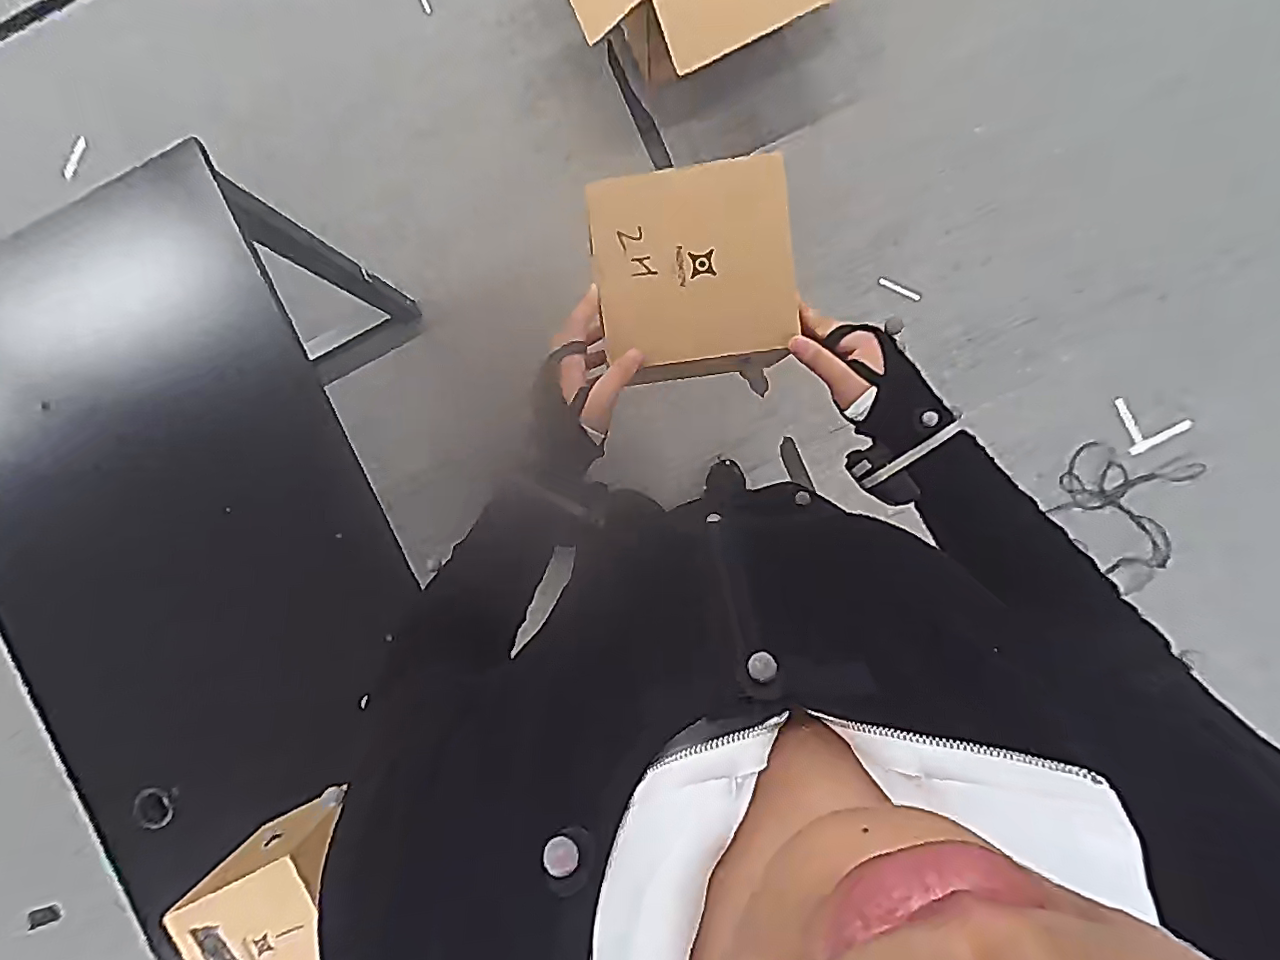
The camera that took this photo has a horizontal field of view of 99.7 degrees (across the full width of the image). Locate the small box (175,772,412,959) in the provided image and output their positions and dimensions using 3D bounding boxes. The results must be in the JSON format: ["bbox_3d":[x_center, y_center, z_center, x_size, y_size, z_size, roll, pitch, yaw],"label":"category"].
[{"bbox_3d":[-0.449,0.542,0.730,0.179,0.176,0.168,-28,91,2],"label":"small box"}]

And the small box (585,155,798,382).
[{"bbox_3d":[0.051,-0.198,0.556,0.179,0.176,0.168,-7,95,5],"label":"small box"}]
